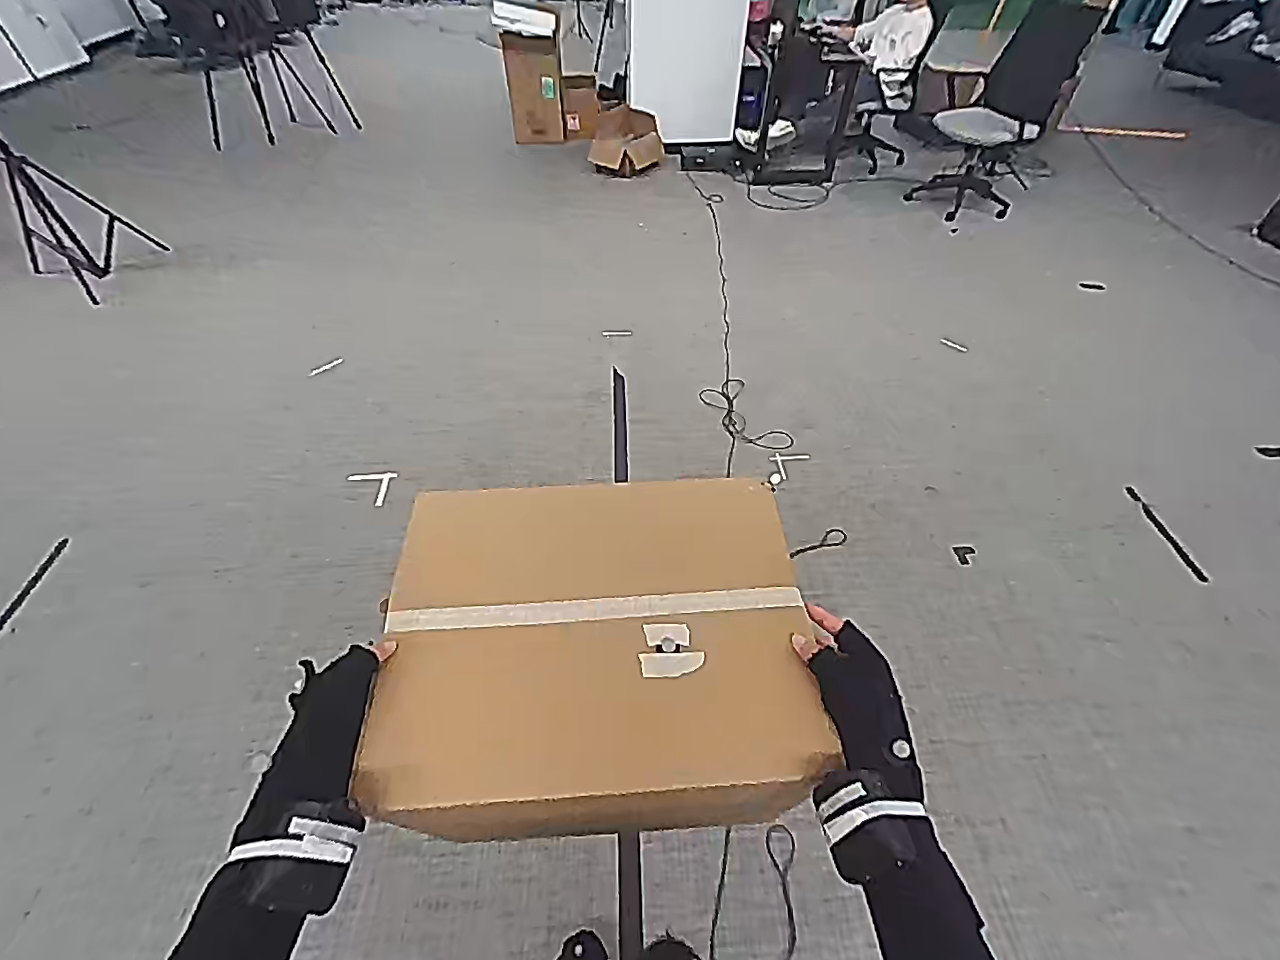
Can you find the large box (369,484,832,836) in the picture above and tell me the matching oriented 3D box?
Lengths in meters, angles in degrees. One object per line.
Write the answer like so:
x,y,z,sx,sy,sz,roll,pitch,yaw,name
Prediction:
-0.042,0.226,0.664,0.408,0.320,0.320,-2,53,-3,large box
